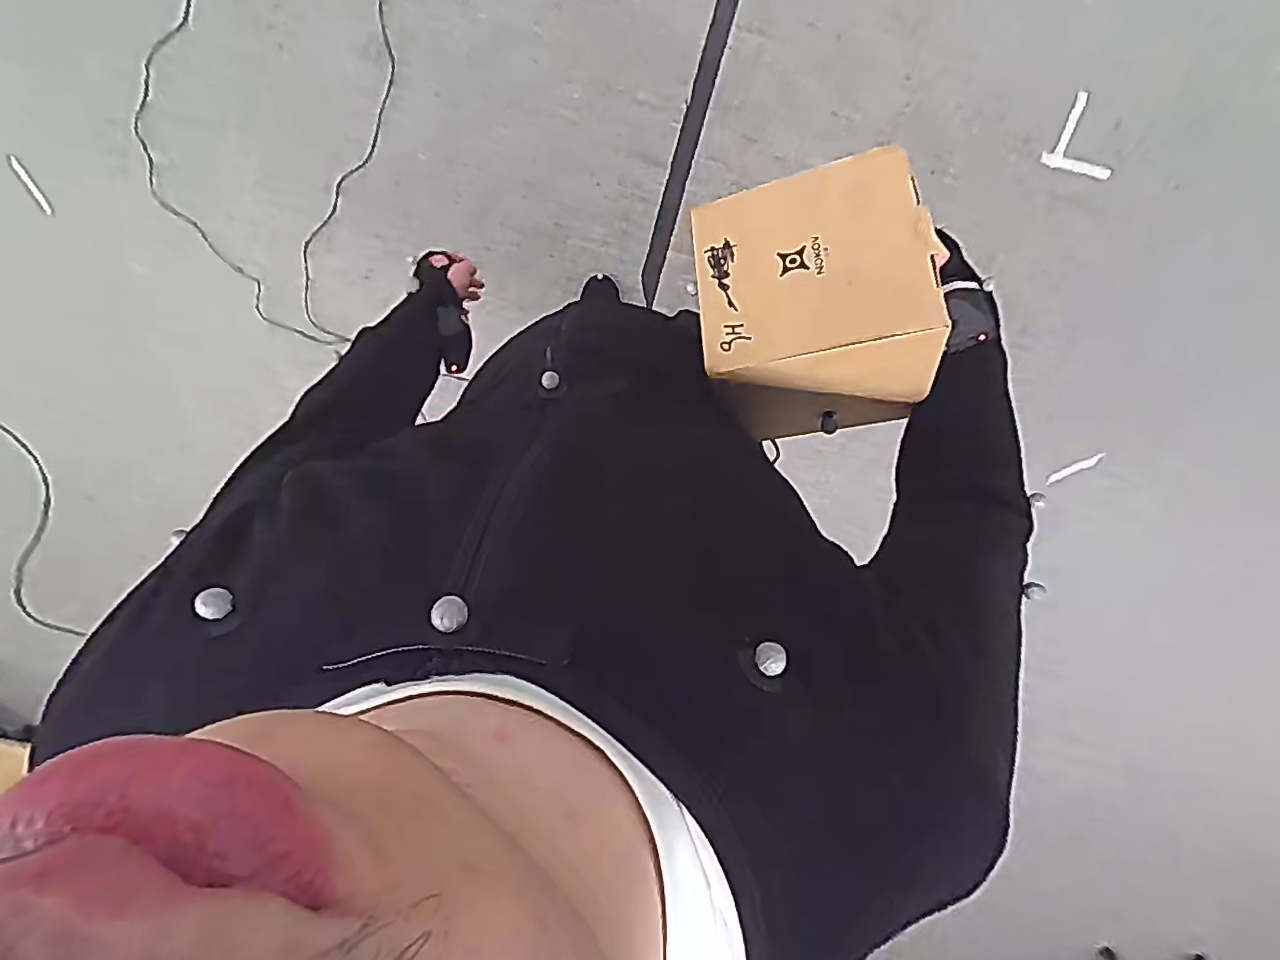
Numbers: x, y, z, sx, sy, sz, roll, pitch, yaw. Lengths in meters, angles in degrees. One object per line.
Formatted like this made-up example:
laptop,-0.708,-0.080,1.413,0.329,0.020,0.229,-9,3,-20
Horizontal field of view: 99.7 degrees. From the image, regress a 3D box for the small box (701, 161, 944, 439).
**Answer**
small box,0.163,-0.150,0.512,0.179,0.176,0.168,-7,71,18
